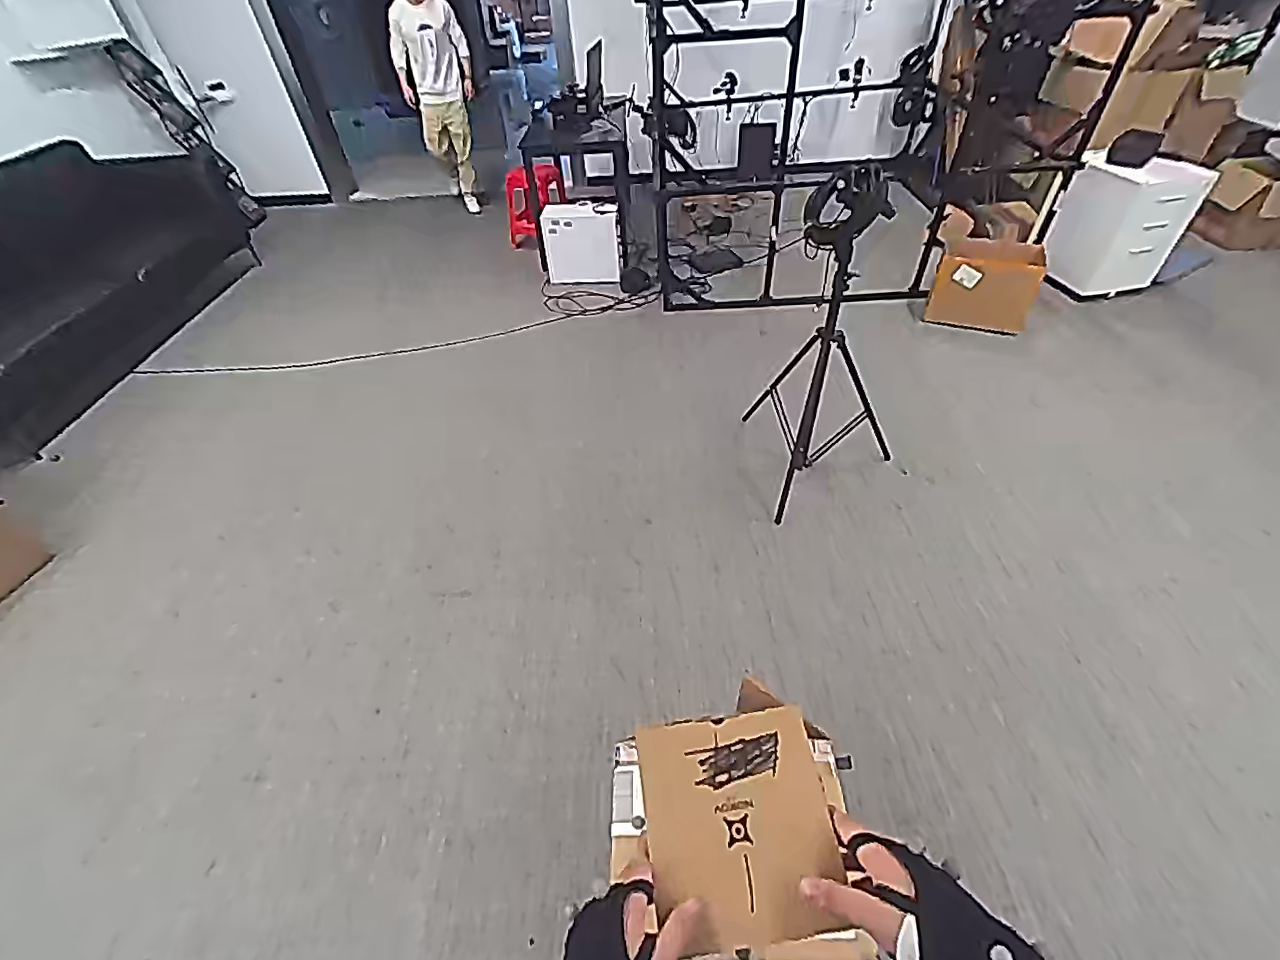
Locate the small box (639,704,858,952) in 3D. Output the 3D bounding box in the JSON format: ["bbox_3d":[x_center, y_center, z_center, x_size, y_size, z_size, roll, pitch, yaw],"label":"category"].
[{"bbox_3d":[0.090,0.350,0.551,0.168,0.176,0.179,-8,54,-2],"label":"small box"}]
